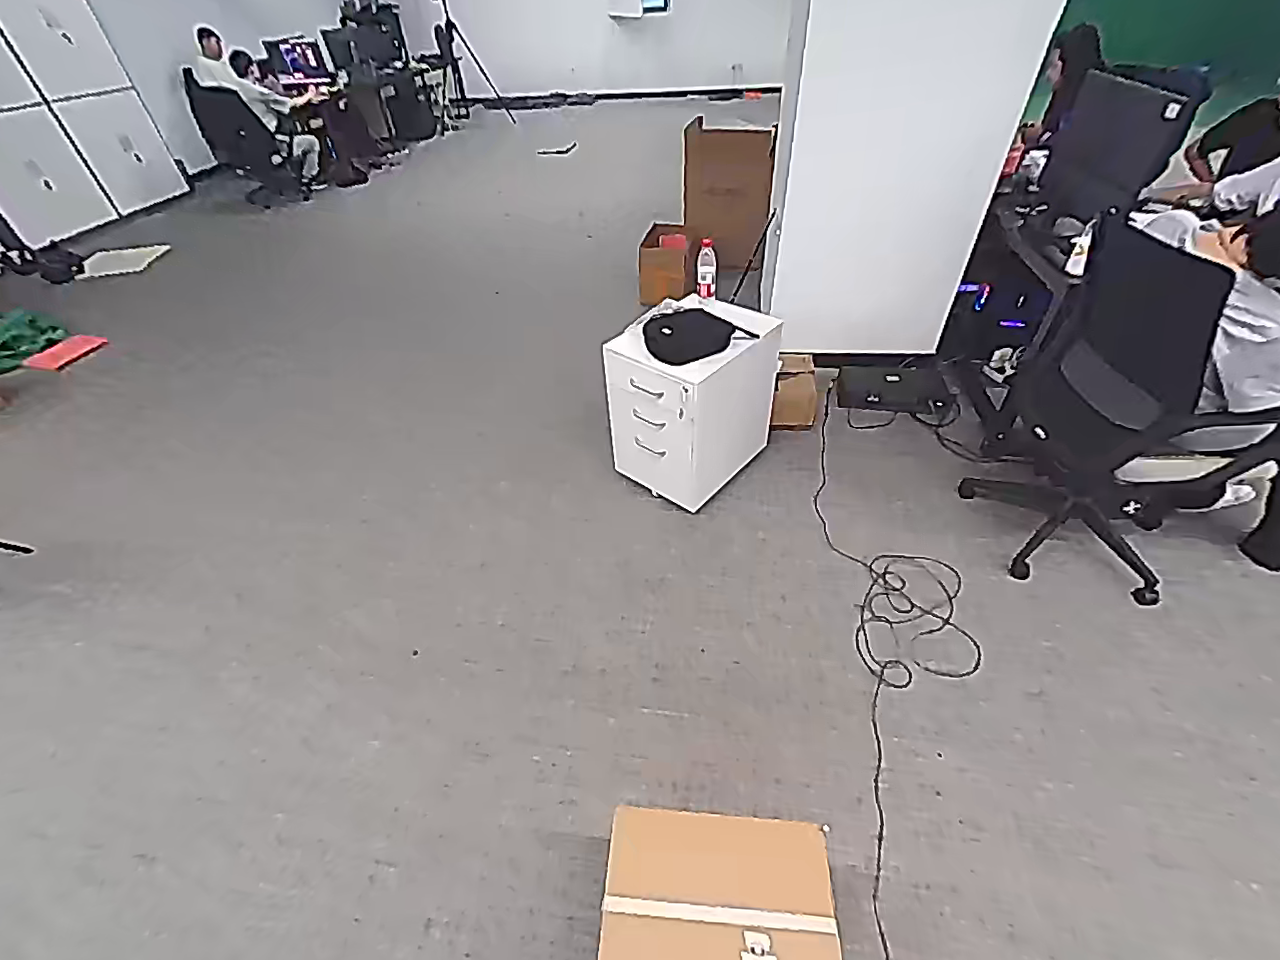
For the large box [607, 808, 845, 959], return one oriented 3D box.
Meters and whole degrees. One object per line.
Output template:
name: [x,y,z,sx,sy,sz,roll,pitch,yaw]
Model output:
large box: [0.152,0.872,1.047,0.408,0.320,0.320,2,43,5]
